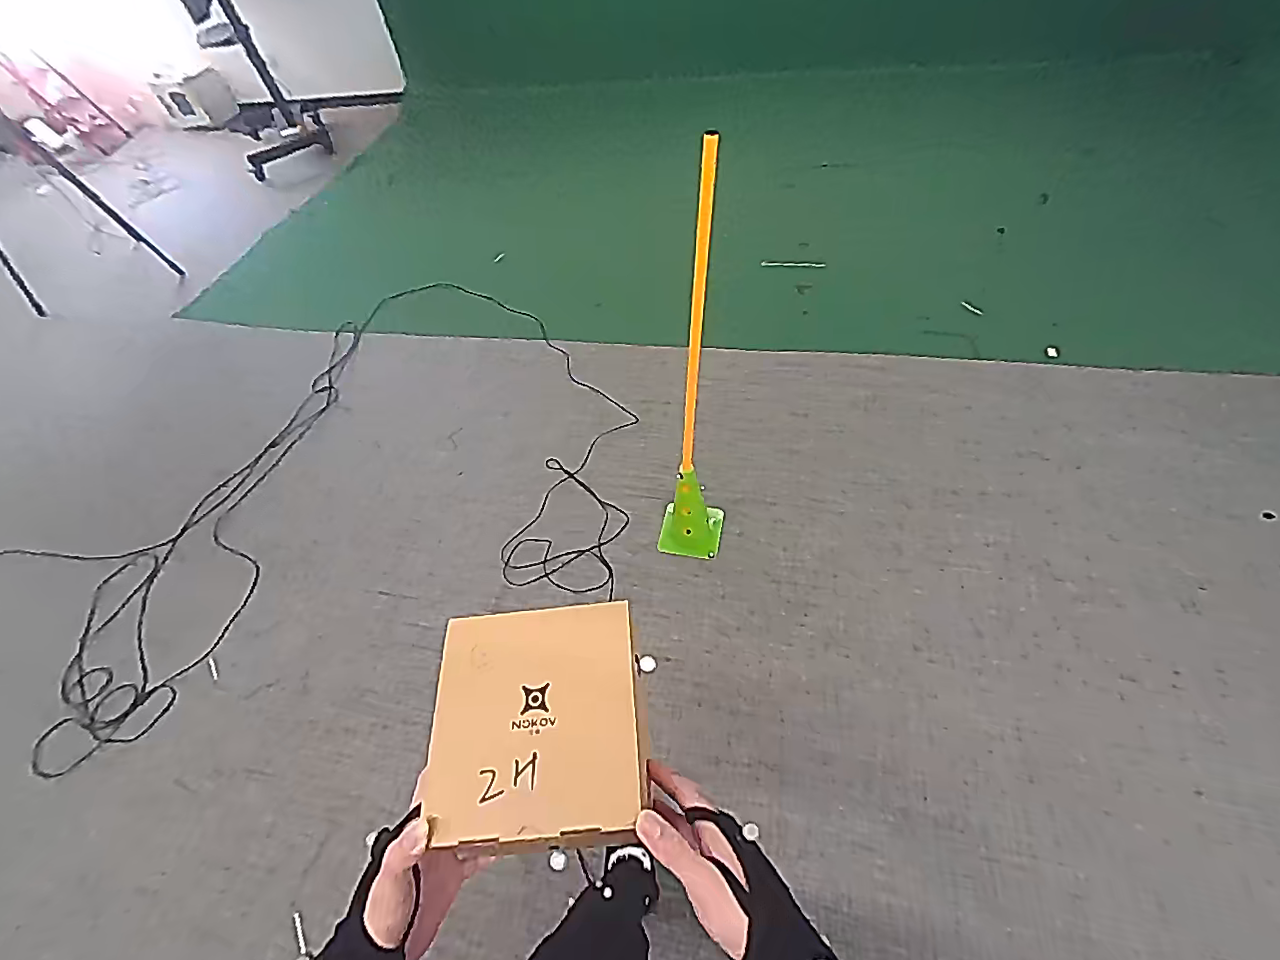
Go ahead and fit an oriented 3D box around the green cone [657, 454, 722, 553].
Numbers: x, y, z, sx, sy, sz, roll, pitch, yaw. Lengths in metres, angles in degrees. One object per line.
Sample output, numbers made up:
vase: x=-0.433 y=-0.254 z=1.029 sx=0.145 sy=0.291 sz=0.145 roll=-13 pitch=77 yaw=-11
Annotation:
green cone: x=0.147 y=0.047 z=1.683 sx=0.202 sy=0.368 sz=0.200 roll=6 pitch=54 yaw=14
